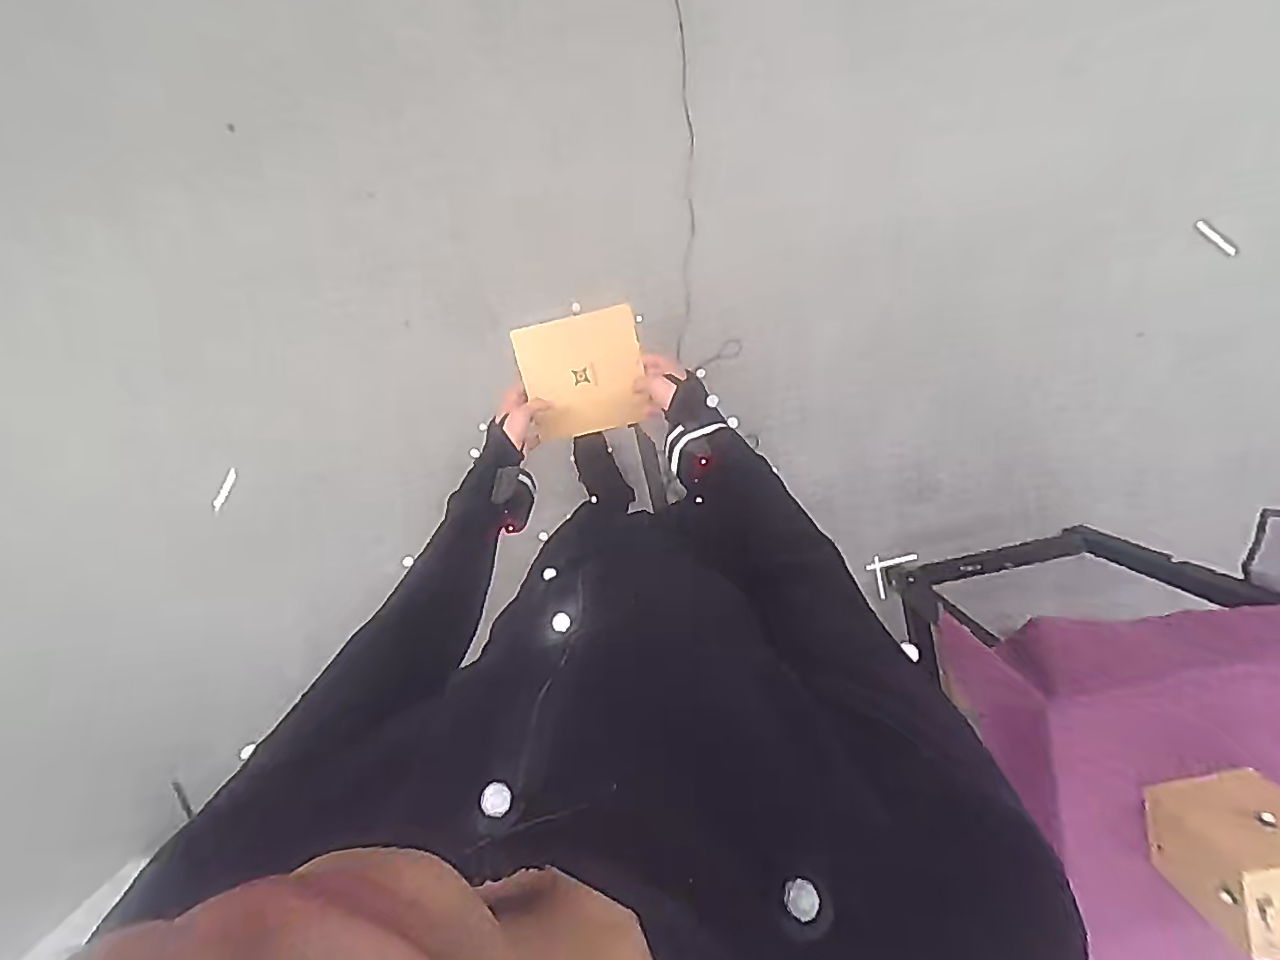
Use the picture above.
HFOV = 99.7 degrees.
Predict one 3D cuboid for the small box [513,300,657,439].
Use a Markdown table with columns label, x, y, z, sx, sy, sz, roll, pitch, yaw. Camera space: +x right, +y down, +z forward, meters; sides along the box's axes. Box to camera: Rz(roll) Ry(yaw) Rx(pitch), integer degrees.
| label | x | y | z | sx | sy | sz | roll | pitch | yaw |
| --- | --- | --- | --- | --- | --- | --- | --- | --- | --- |
| small box | -0.076 | -0.173 | 0.839 | 0.179 | 0.176 | 0.168 | -13 | 106 | 2 |

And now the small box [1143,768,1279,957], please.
| label | x | y | z | sx | sy | sz | roll | pitch | yaw |
| --- | --- | --- | --- | --- | --- | --- | --- | --- | --- |
| small box | 0.964 | 0.591 | 0.857 | 0.179 | 0.176 | 0.168 | -15 | 99 | 5 |
